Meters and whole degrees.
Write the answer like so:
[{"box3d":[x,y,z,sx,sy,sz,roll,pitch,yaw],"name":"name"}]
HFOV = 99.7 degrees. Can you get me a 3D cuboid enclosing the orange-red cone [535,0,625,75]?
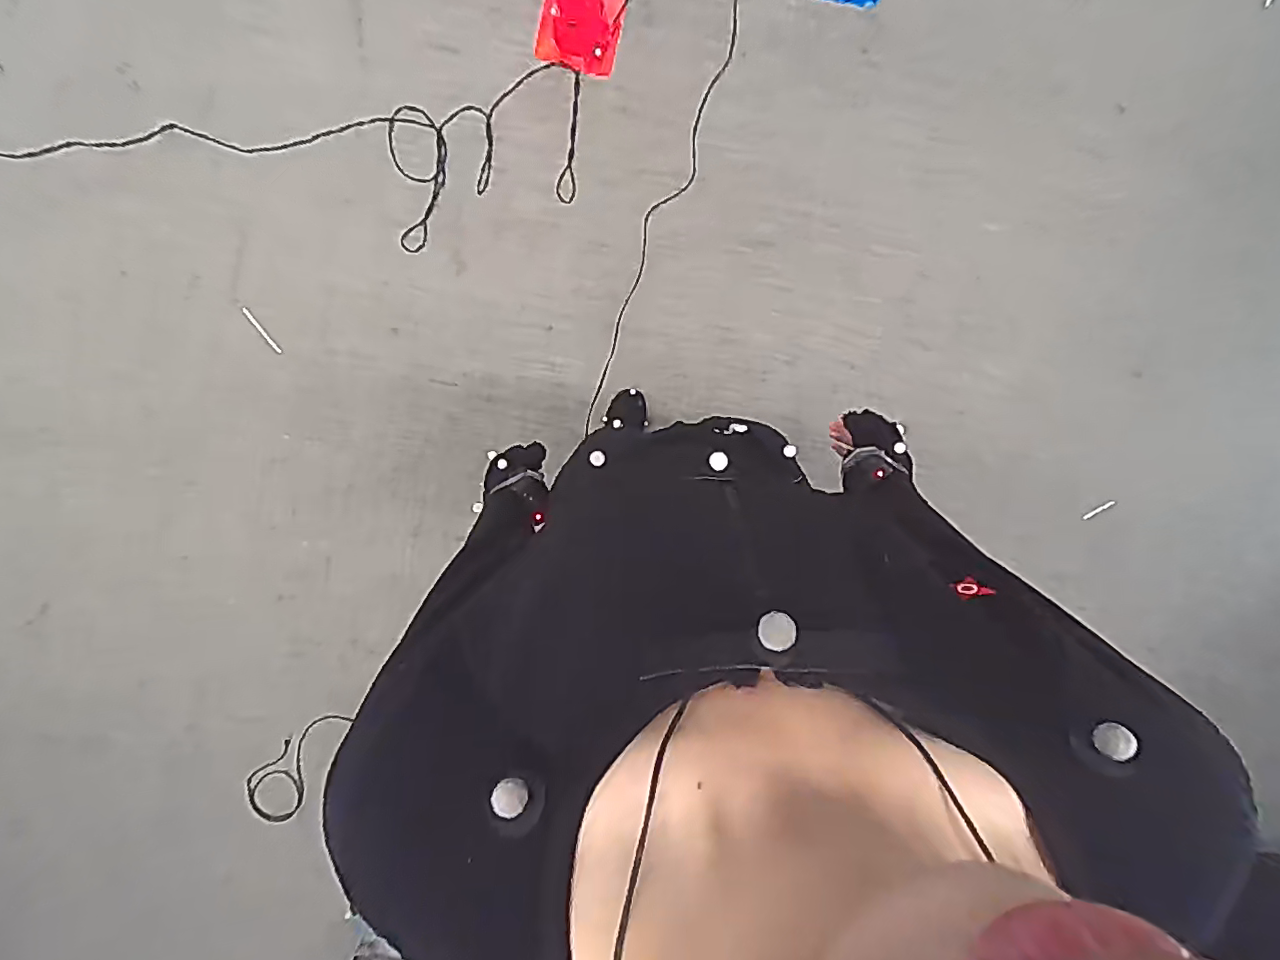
[{"box3d":[-0.140,-1.111,1.172,0.198,0.360,0.199,14,96,-5],"name":"orange-red cone"}]
